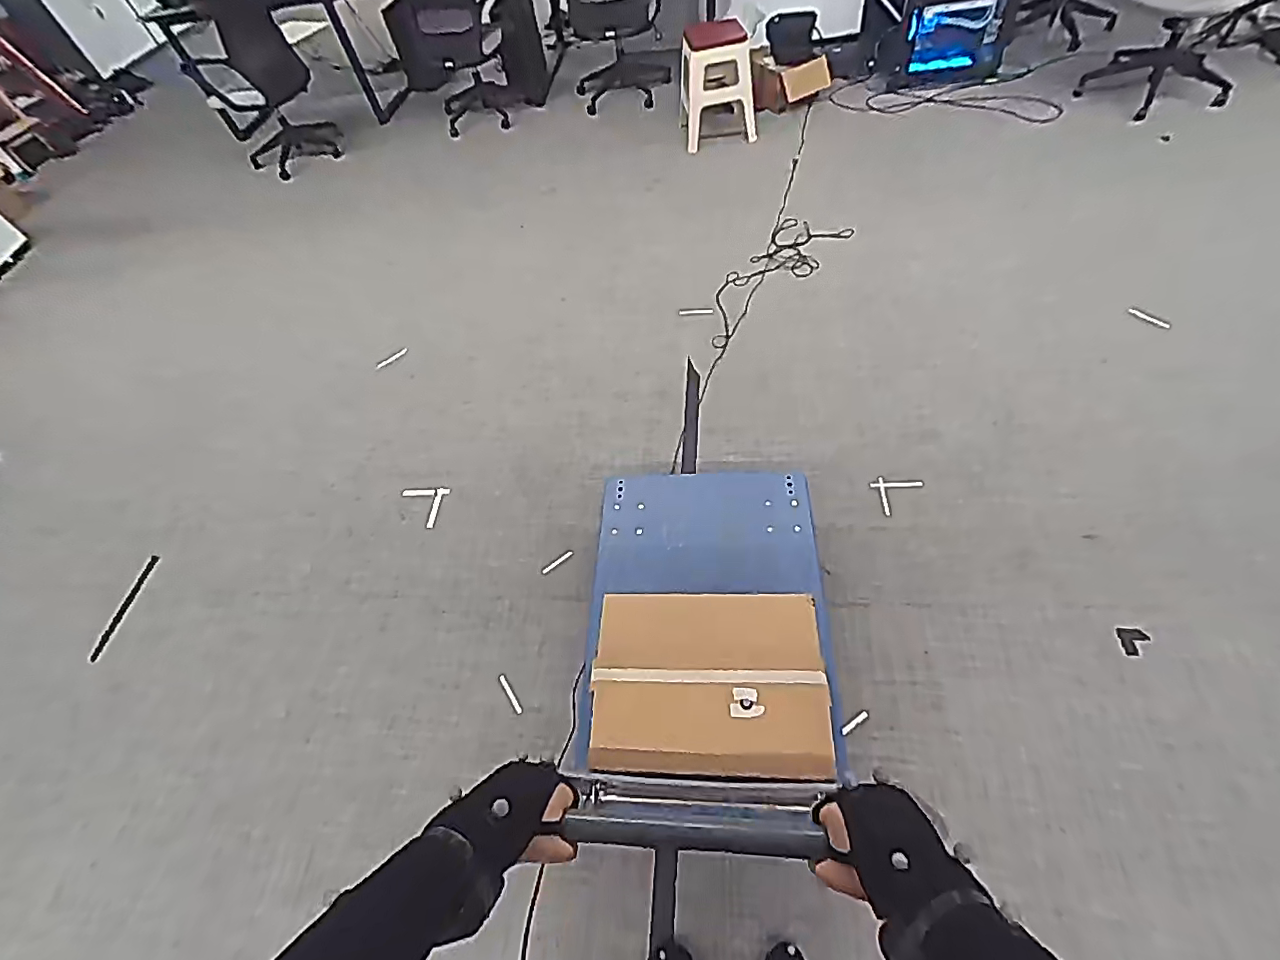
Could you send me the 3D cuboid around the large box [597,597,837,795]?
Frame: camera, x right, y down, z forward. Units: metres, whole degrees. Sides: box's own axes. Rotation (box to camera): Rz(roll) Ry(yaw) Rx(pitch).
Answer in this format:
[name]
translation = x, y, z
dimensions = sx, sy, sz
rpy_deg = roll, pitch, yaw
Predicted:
[large box]
translation = 0.142, 0.445, 1.095
dimensions = 0.408, 0.320, 0.320
rpy_deg = -2, 56, 7
